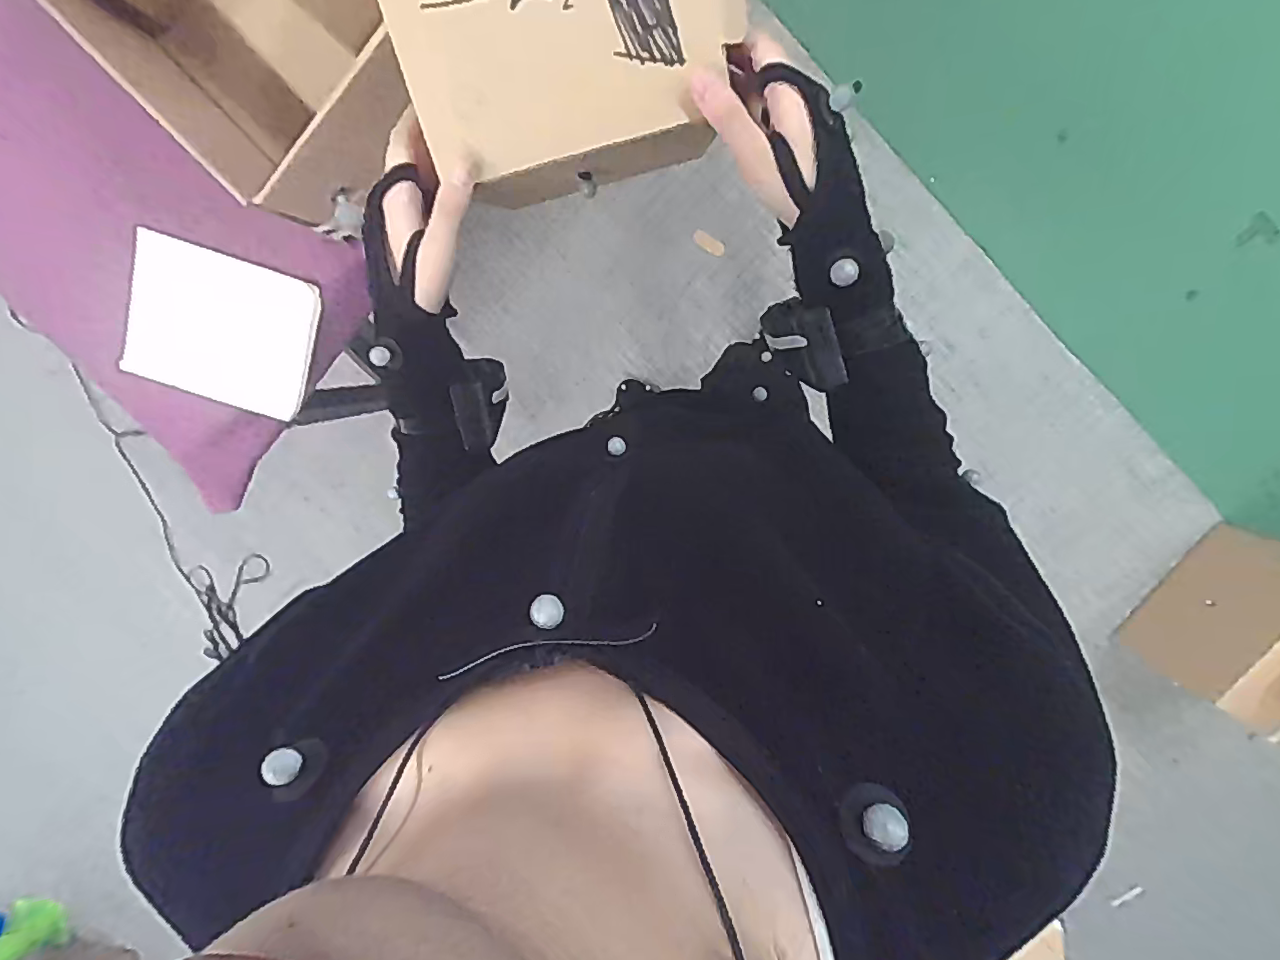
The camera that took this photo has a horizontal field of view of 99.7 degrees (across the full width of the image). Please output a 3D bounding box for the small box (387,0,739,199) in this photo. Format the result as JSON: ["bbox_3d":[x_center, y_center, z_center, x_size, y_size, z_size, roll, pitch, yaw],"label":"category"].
[{"bbox_3d":[-0.046,-0.296,0.348,0.179,0.176,0.168,-12,112,7],"label":"small box"}]

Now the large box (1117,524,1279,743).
[{"bbox_3d":[1.517,0.381,1.304,0.320,0.320,0.408,30,102,-3],"label":"large box"}]
